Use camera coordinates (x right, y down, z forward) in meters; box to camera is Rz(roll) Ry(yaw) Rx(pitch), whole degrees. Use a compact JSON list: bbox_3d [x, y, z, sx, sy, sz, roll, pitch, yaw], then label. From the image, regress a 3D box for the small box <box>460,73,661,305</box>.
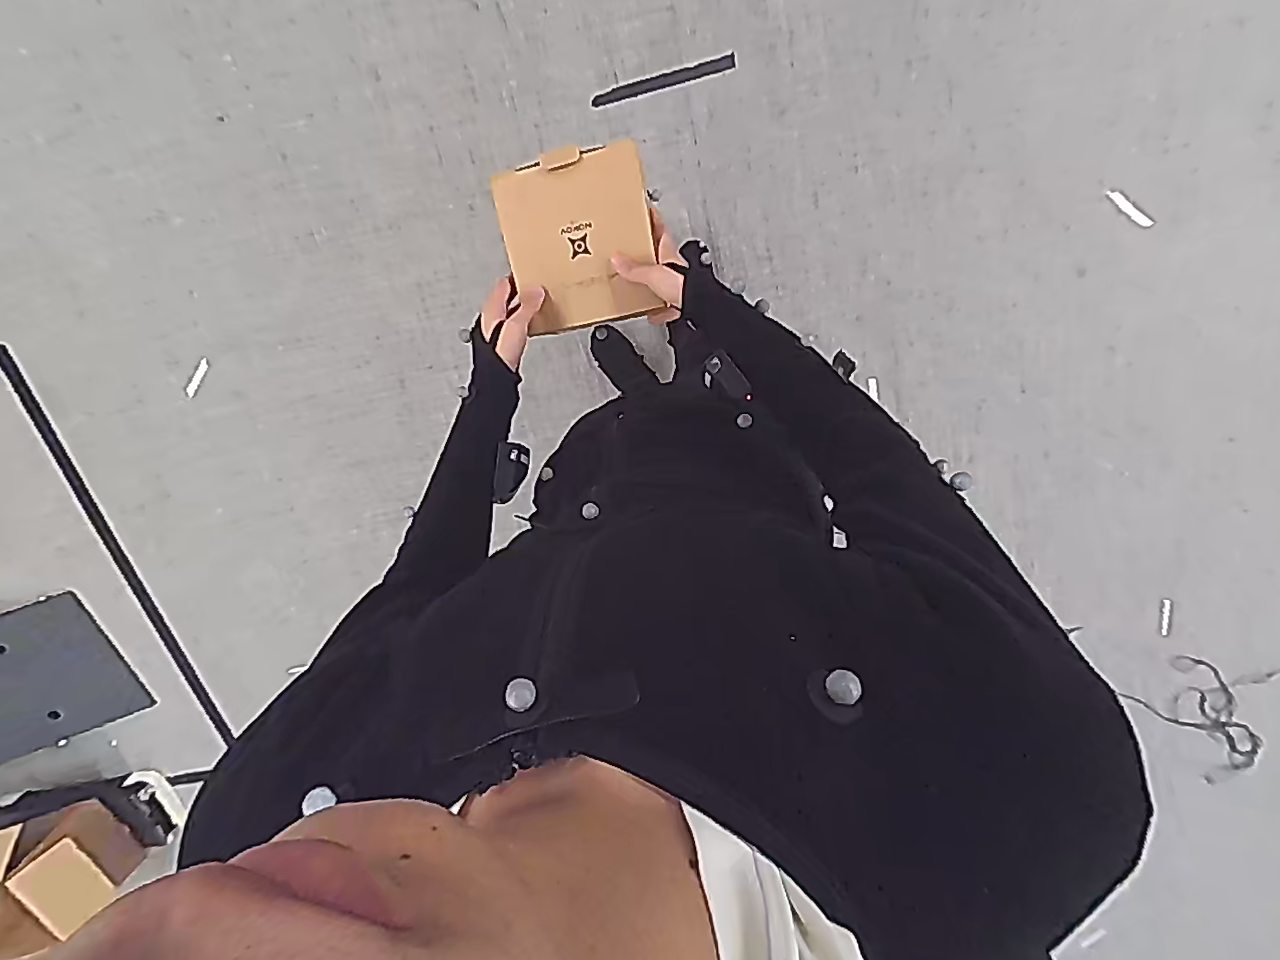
[{"bbox_3d":[-0.073,-0.303,0.605,0.168,0.176,0.179,-10,106,8],"label":"small box"}]
